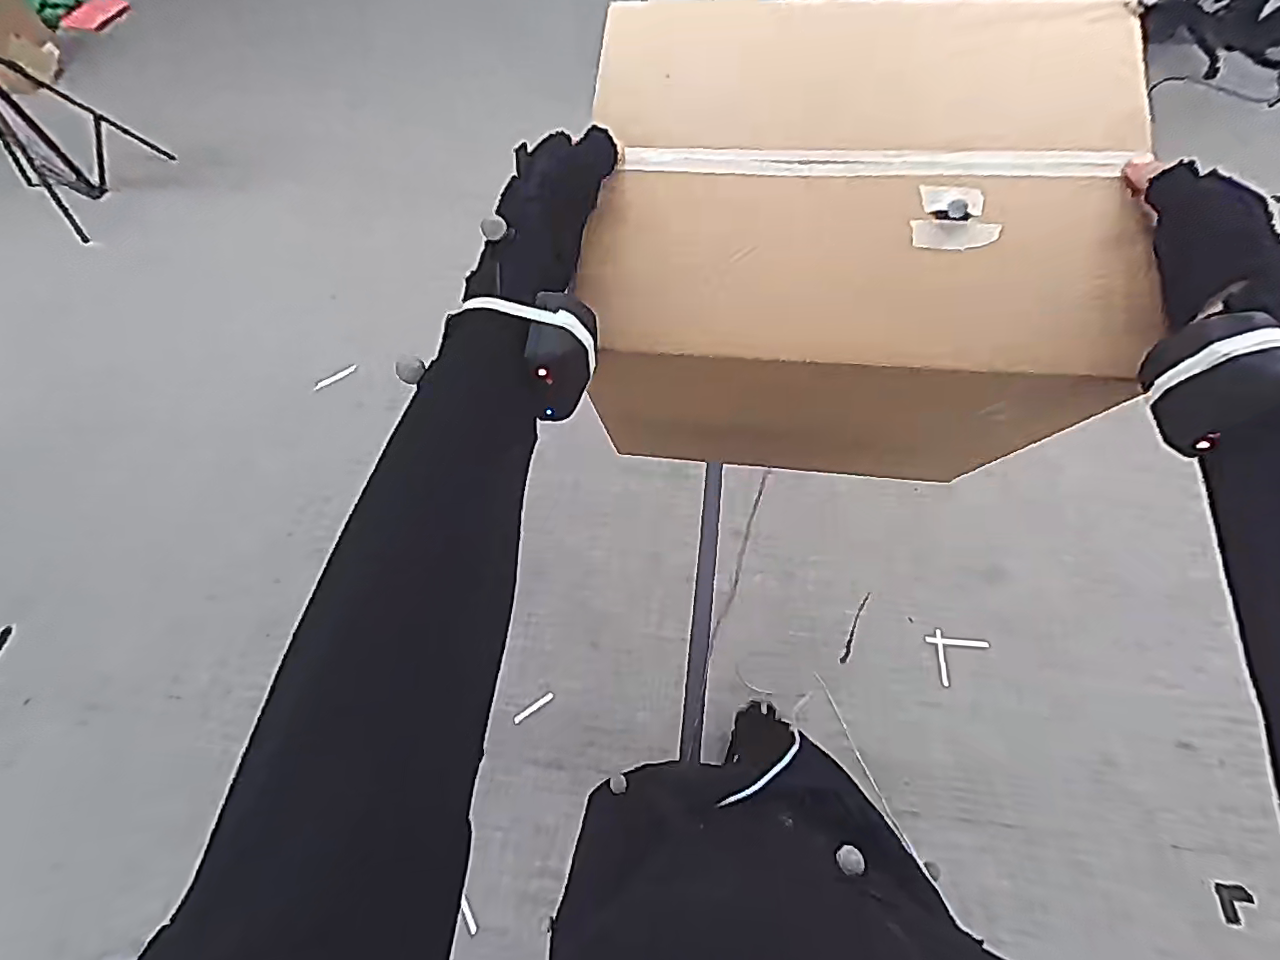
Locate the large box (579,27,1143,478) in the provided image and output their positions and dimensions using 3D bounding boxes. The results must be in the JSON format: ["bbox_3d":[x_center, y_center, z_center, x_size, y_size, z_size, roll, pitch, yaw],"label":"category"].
[{"bbox_3d":[0.175,-0.195,0.565,0.408,0.320,0.320,5,79,7],"label":"large box"}]
